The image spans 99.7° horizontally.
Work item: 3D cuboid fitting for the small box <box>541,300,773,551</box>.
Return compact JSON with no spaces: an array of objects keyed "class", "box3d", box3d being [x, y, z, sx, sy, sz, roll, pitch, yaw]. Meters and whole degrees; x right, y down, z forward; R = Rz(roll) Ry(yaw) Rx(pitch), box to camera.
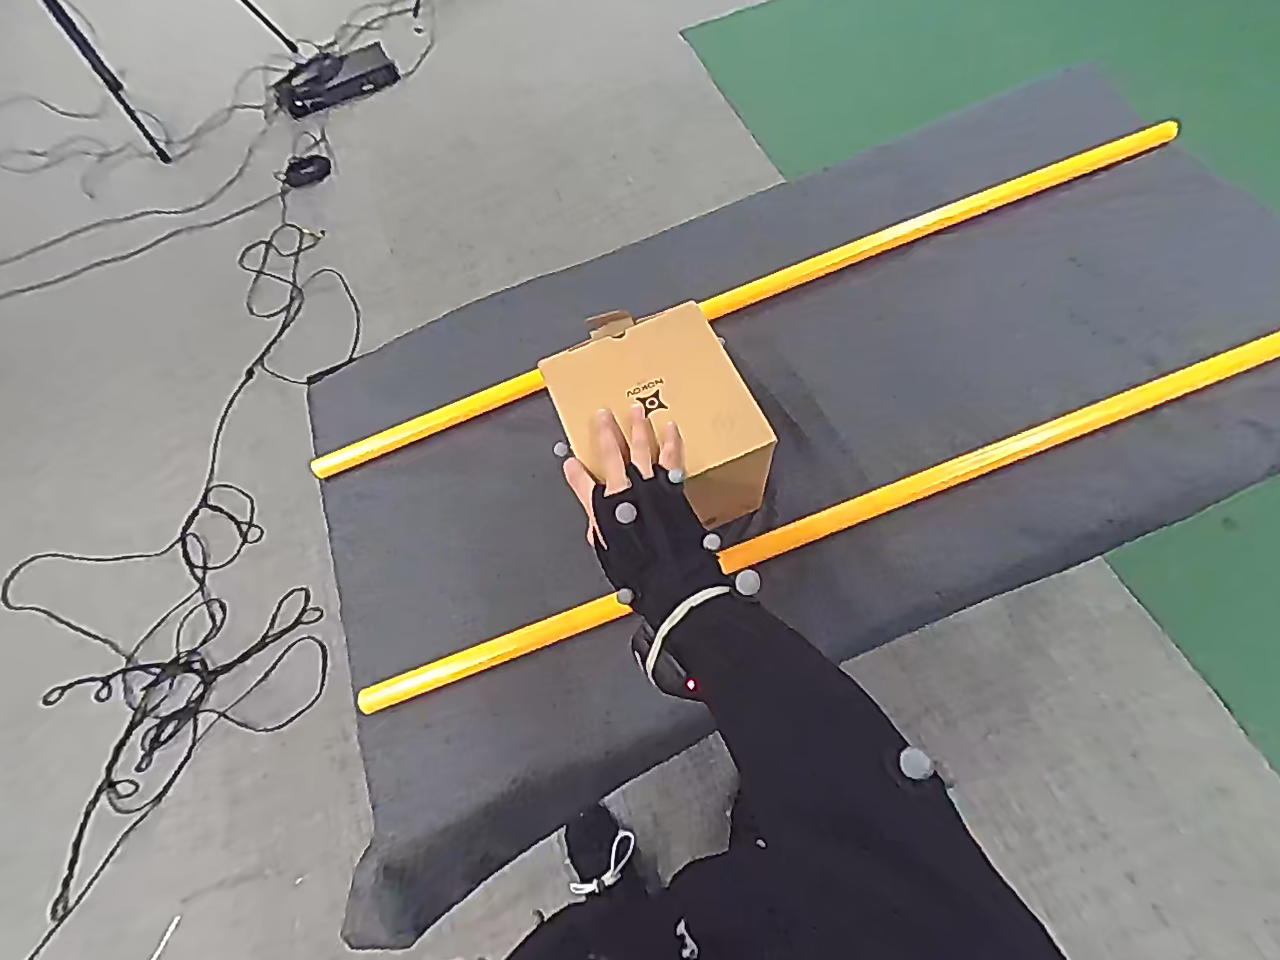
[{"class":"small box","box3d":[0.020,-0.042,0.560,0.168,0.176,0.179,-23,64,-3]}]
